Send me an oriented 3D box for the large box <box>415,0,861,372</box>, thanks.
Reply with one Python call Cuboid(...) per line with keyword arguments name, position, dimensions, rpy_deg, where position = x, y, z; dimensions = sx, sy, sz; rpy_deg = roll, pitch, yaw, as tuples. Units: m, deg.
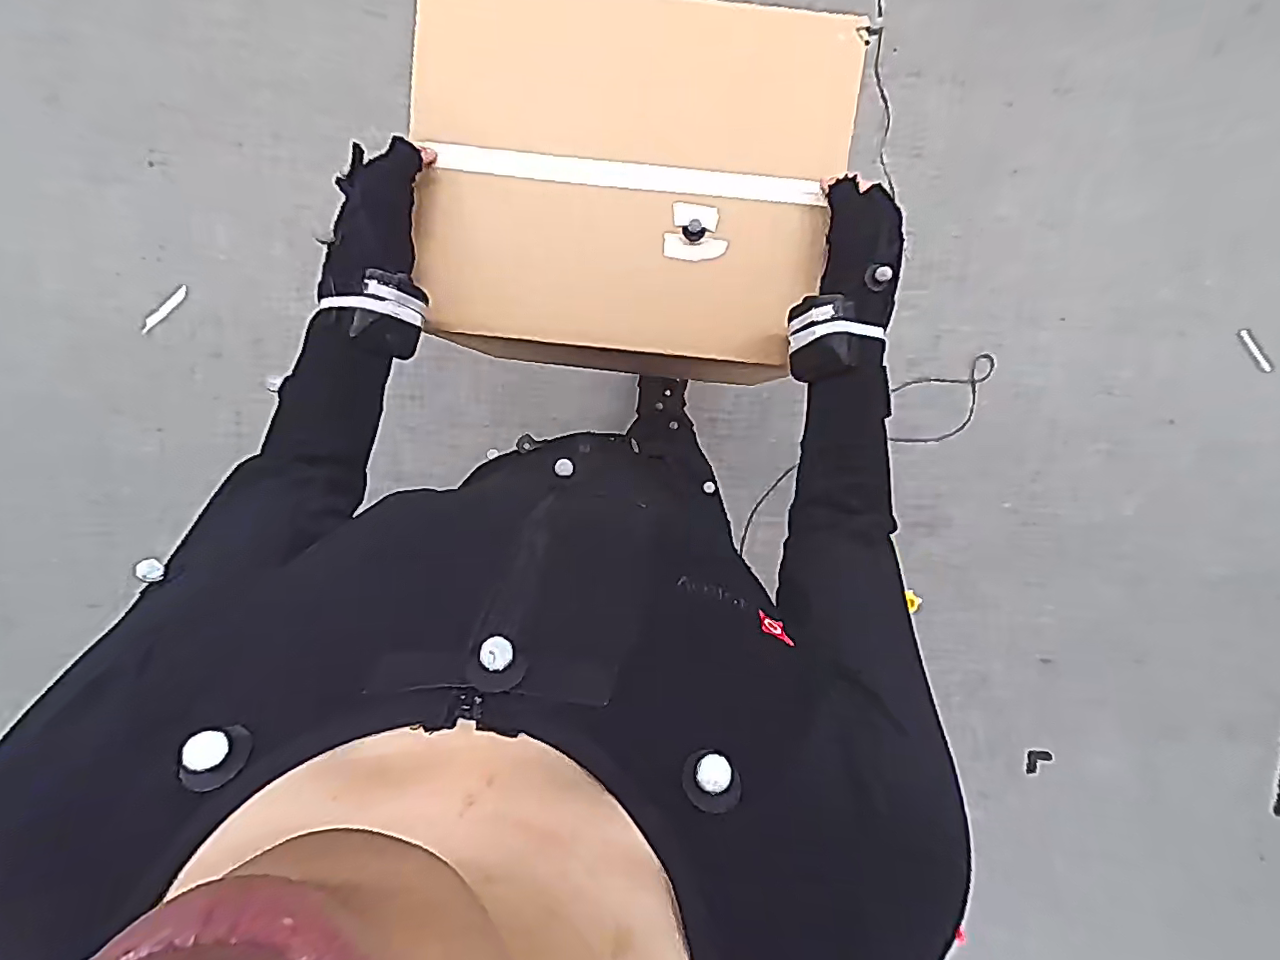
Cuboid(name="large box", position=(-0.010, -0.313, 0.653), dimensions=(0.408, 0.320, 0.320), rpy_deg=(6, 98, -1))
